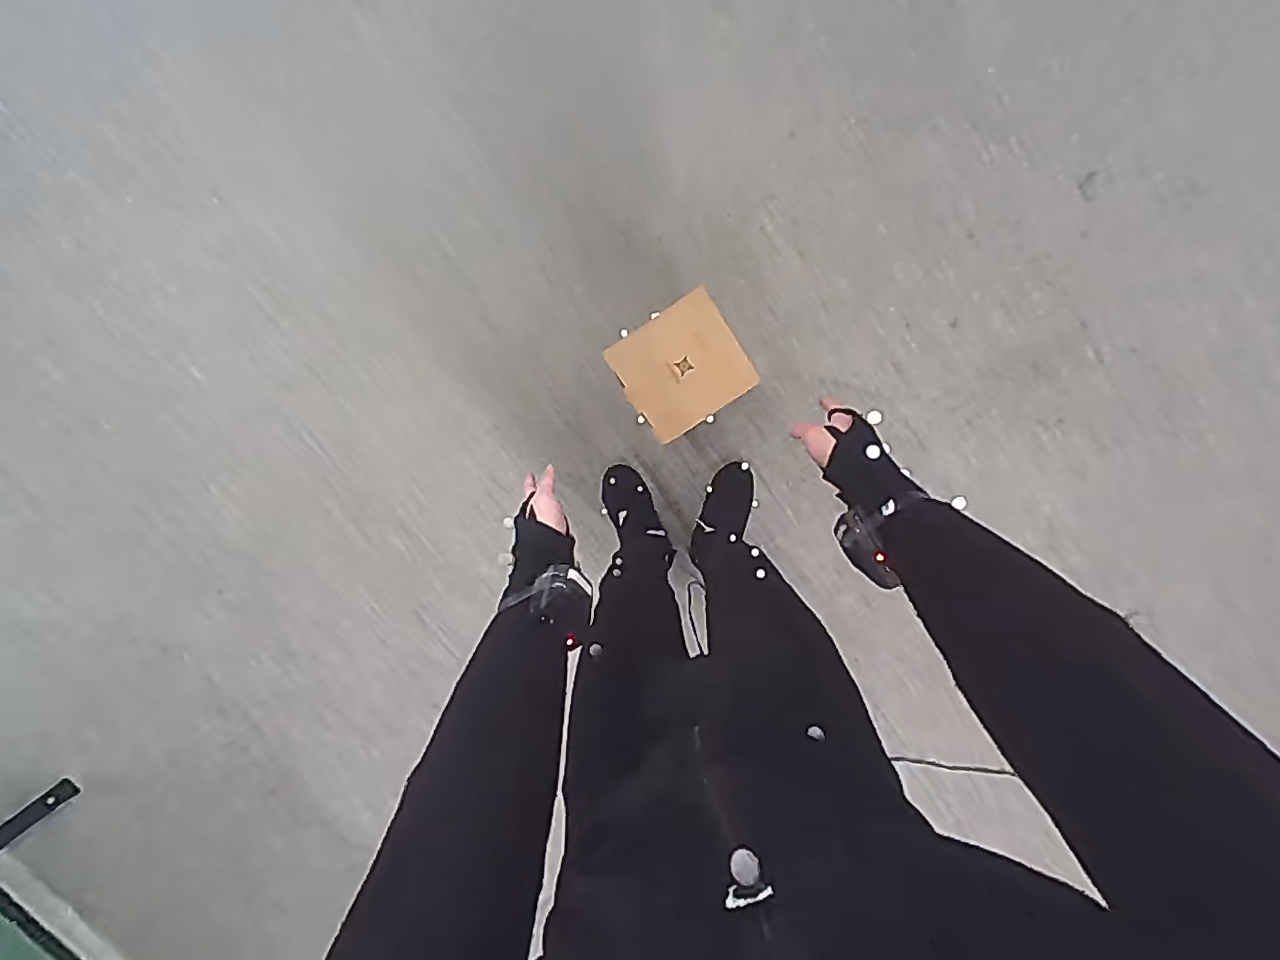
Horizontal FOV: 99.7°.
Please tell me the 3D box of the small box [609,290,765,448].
[{"bbox_3d":[0.071,-0.173,0.865,0.179,0.176,0.168,-34,99,7],"label":"small box"}]
